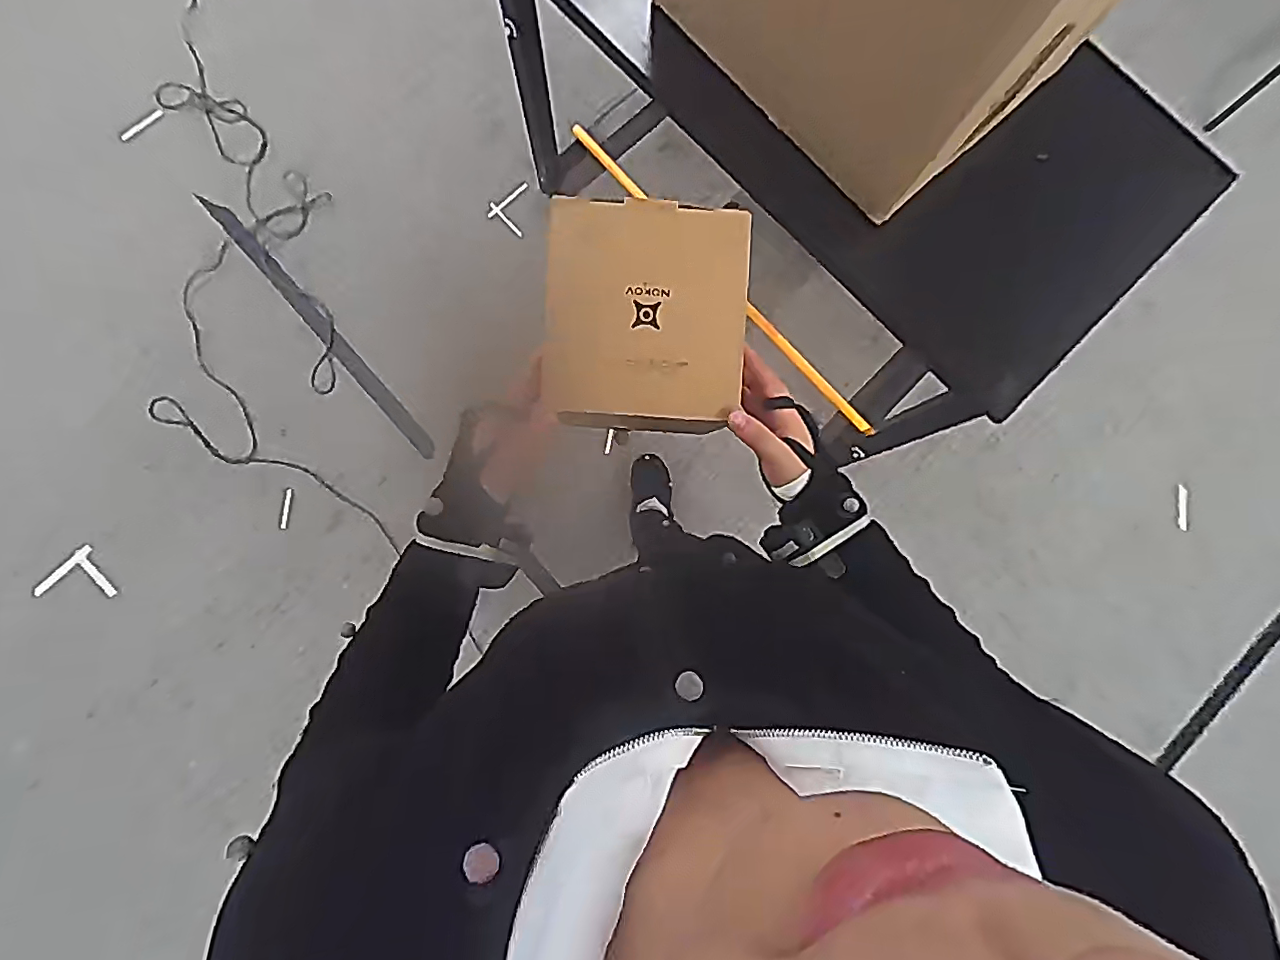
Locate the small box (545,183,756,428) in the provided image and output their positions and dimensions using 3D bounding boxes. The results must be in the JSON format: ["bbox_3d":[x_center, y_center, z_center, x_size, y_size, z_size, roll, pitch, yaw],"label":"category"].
[{"bbox_3d":[0.004,-0.148,0.518,0.168,0.176,0.179,3,92,-3],"label":"small box"}]
